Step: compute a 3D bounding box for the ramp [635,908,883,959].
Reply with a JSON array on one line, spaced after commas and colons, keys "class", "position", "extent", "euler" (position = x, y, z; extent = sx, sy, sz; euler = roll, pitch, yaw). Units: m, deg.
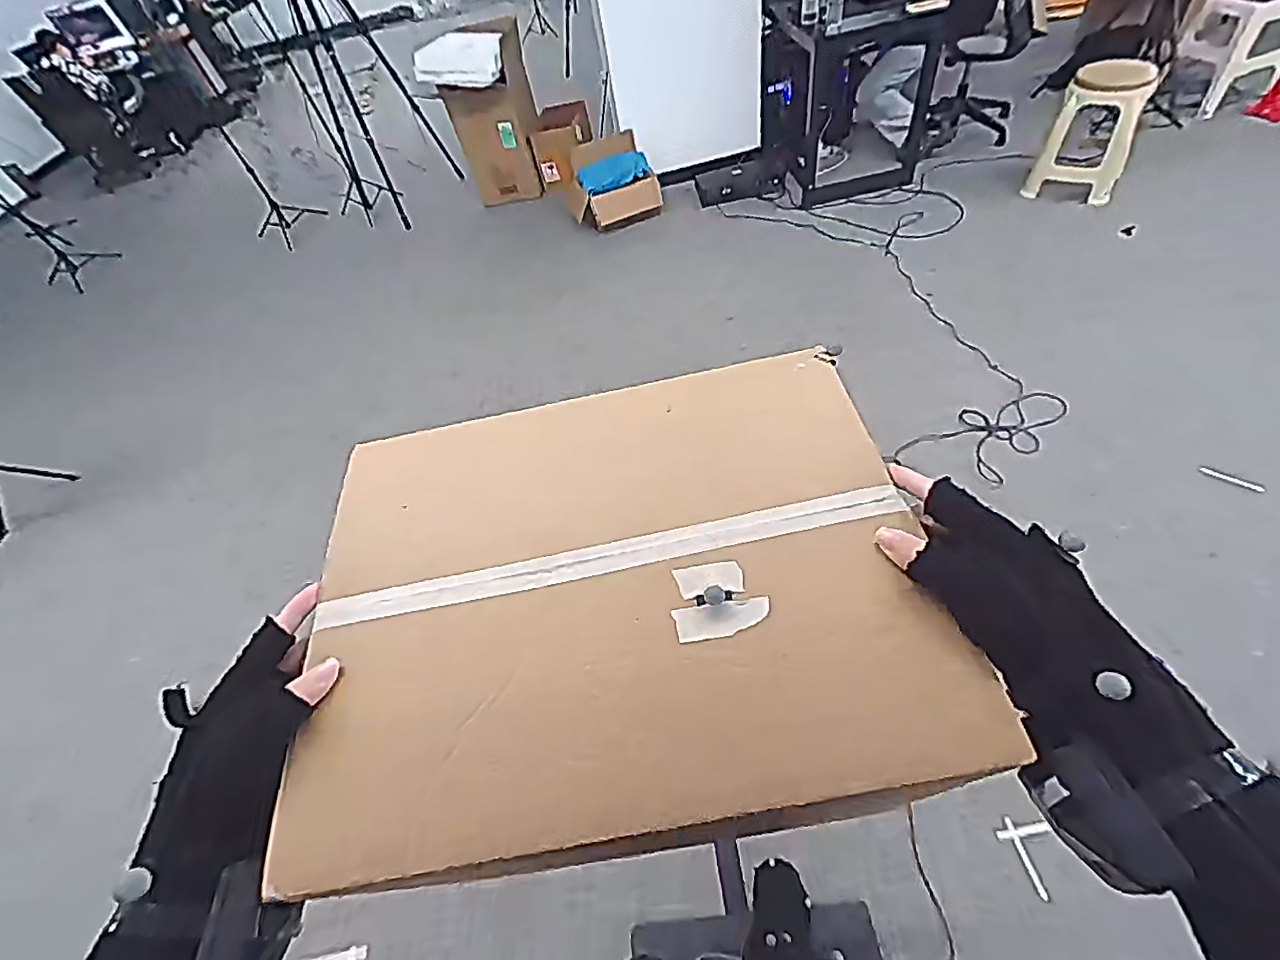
[{"class": "ramp", "position": [0.248, 1.234, 0.743], "extent": [0.509, 0.206, 0.991], "euler": [-12, 49, 5]}]

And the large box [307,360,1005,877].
[{"class": "large box", "position": [0.003, 0.142, 0.503], "extent": [0.408, 0.320, 0.320], "euler": [-11, 55, 1]}]
